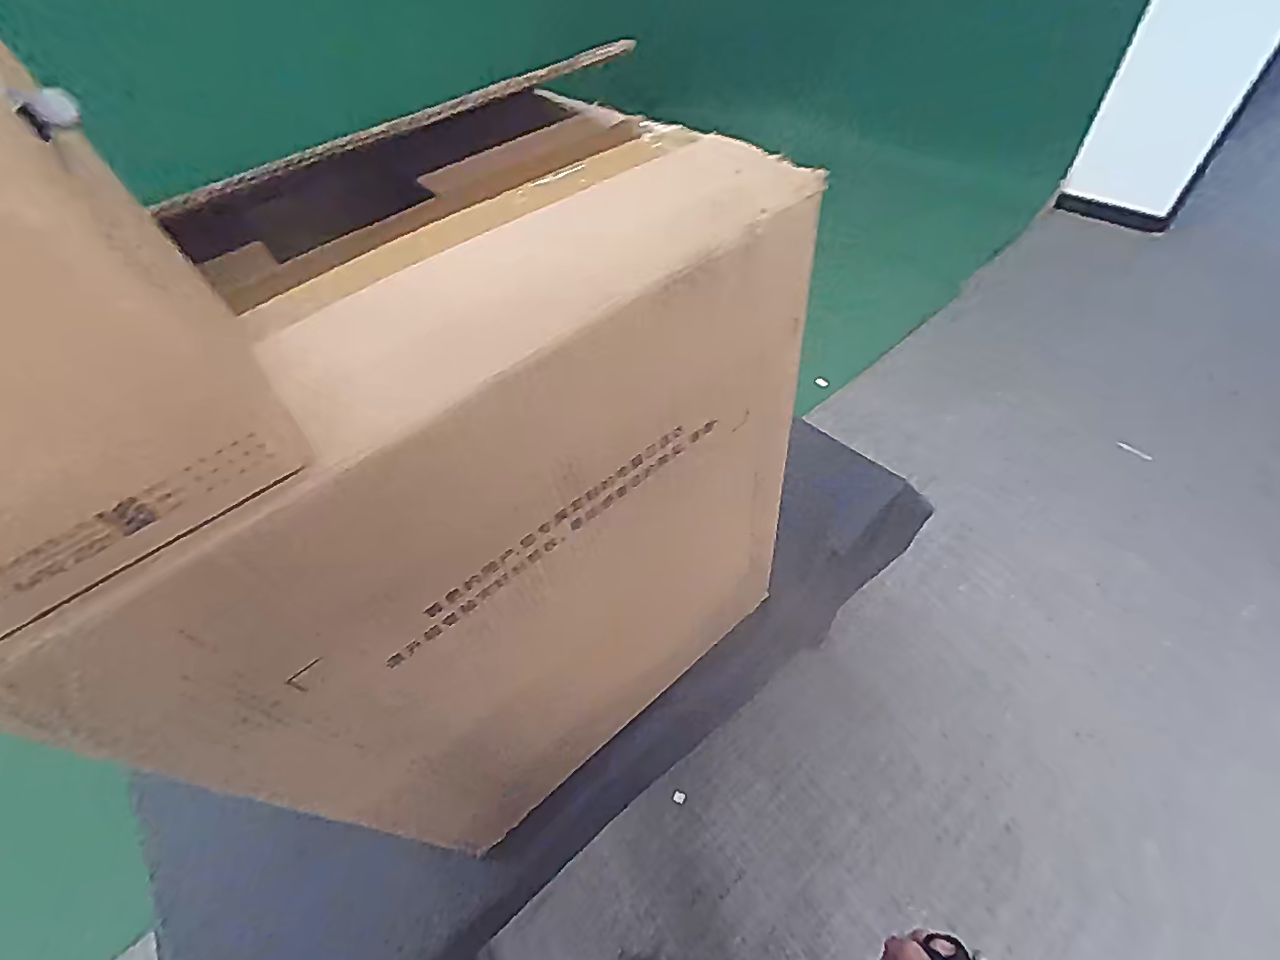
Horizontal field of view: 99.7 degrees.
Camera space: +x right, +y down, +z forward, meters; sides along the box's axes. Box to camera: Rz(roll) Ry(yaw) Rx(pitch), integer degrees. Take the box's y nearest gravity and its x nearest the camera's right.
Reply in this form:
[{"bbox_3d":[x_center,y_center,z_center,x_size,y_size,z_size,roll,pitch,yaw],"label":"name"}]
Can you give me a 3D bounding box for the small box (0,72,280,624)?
[{"bbox_3d":[-0.280,-0.055,0.206,0.168,0.176,0.179,-35,54,-17],"label":"small box"}]
